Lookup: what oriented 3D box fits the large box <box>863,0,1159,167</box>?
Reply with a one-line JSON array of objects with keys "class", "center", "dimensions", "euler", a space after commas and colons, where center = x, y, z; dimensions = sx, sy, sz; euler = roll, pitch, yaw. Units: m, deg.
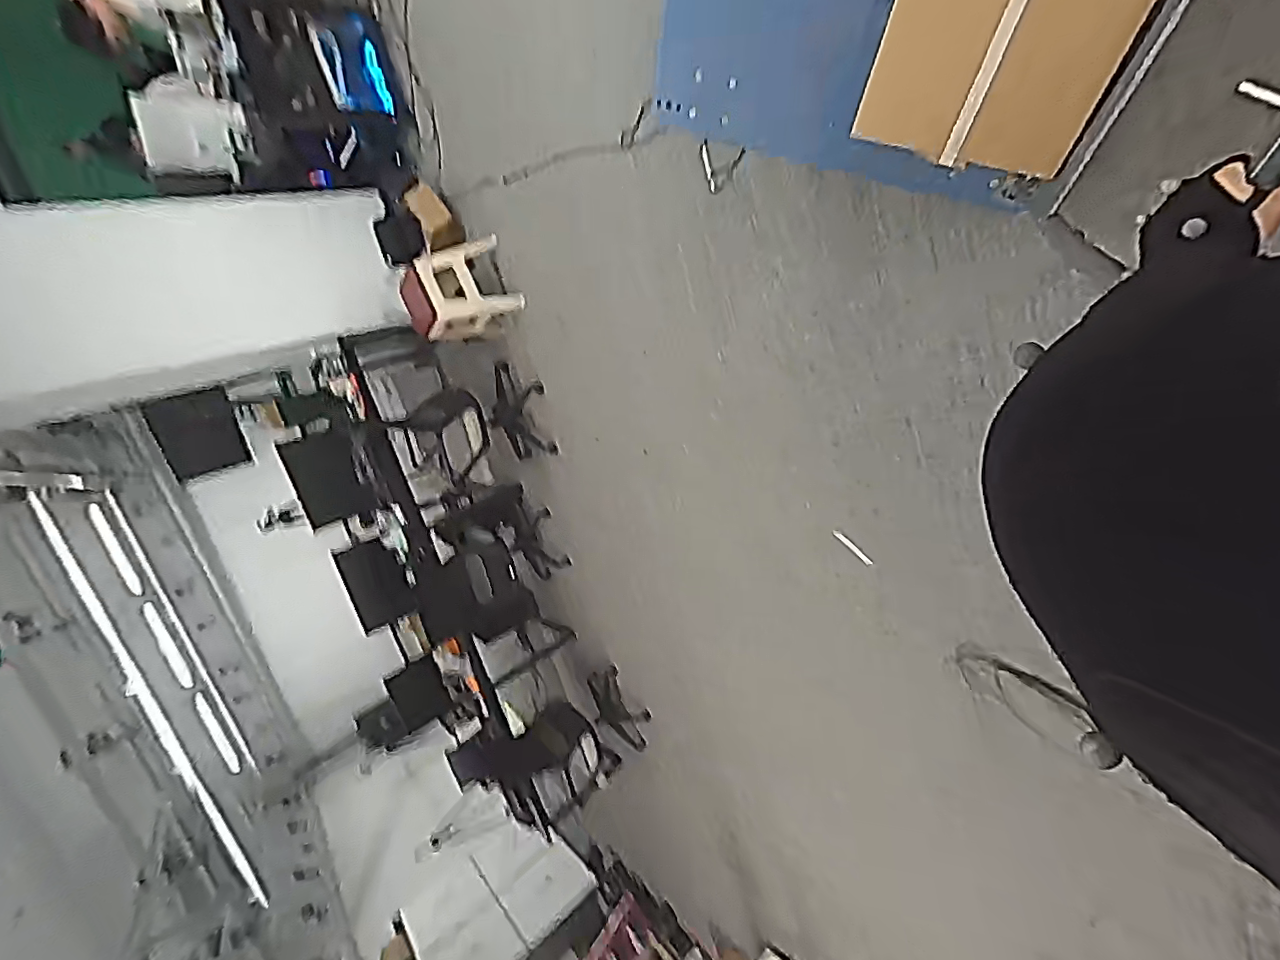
[{"class": "large box", "center": [0.587, -0.748, 0.828], "dimensions": [0.320, 0.320, 0.408], "euler": [22, 131, 14]}]
